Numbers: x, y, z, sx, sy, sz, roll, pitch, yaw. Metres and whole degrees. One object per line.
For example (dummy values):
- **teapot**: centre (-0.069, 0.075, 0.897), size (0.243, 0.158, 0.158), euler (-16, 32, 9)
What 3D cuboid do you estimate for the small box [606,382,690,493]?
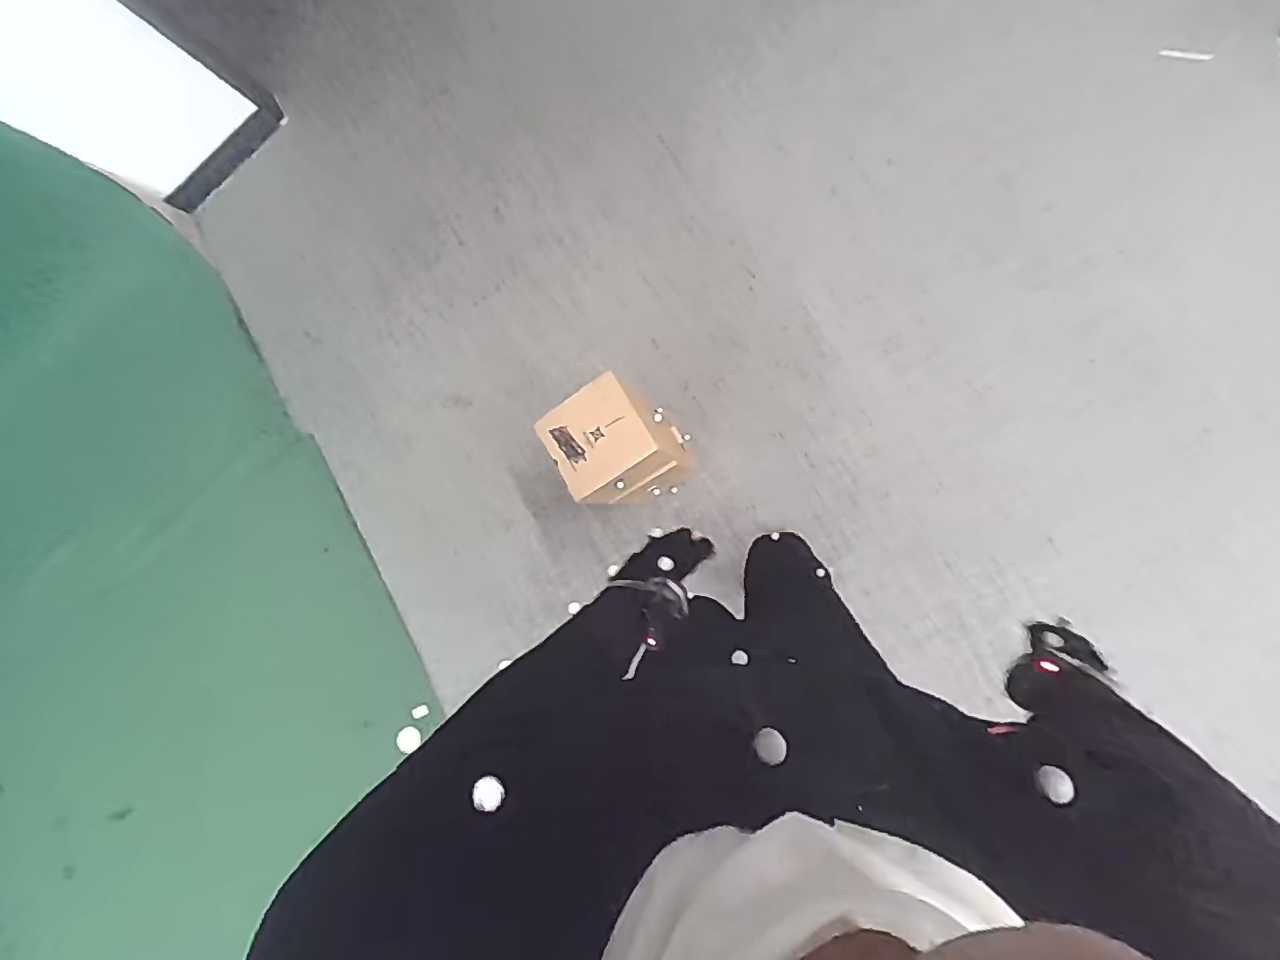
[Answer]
- **small box**: centre (-0.012, -0.084, 1.169), size (0.168, 0.176, 0.179), euler (-30, 82, 14)

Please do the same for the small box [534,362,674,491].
- **small box**: centre (-0.060, -0.089, 1.012), size (0.179, 0.176, 0.168), euler (-32, 80, 13)

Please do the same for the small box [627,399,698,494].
- **small box**: centre (0.031, -0.077, 1.325), size (0.179, 0.176, 0.168), euler (-29, 81, 13)
